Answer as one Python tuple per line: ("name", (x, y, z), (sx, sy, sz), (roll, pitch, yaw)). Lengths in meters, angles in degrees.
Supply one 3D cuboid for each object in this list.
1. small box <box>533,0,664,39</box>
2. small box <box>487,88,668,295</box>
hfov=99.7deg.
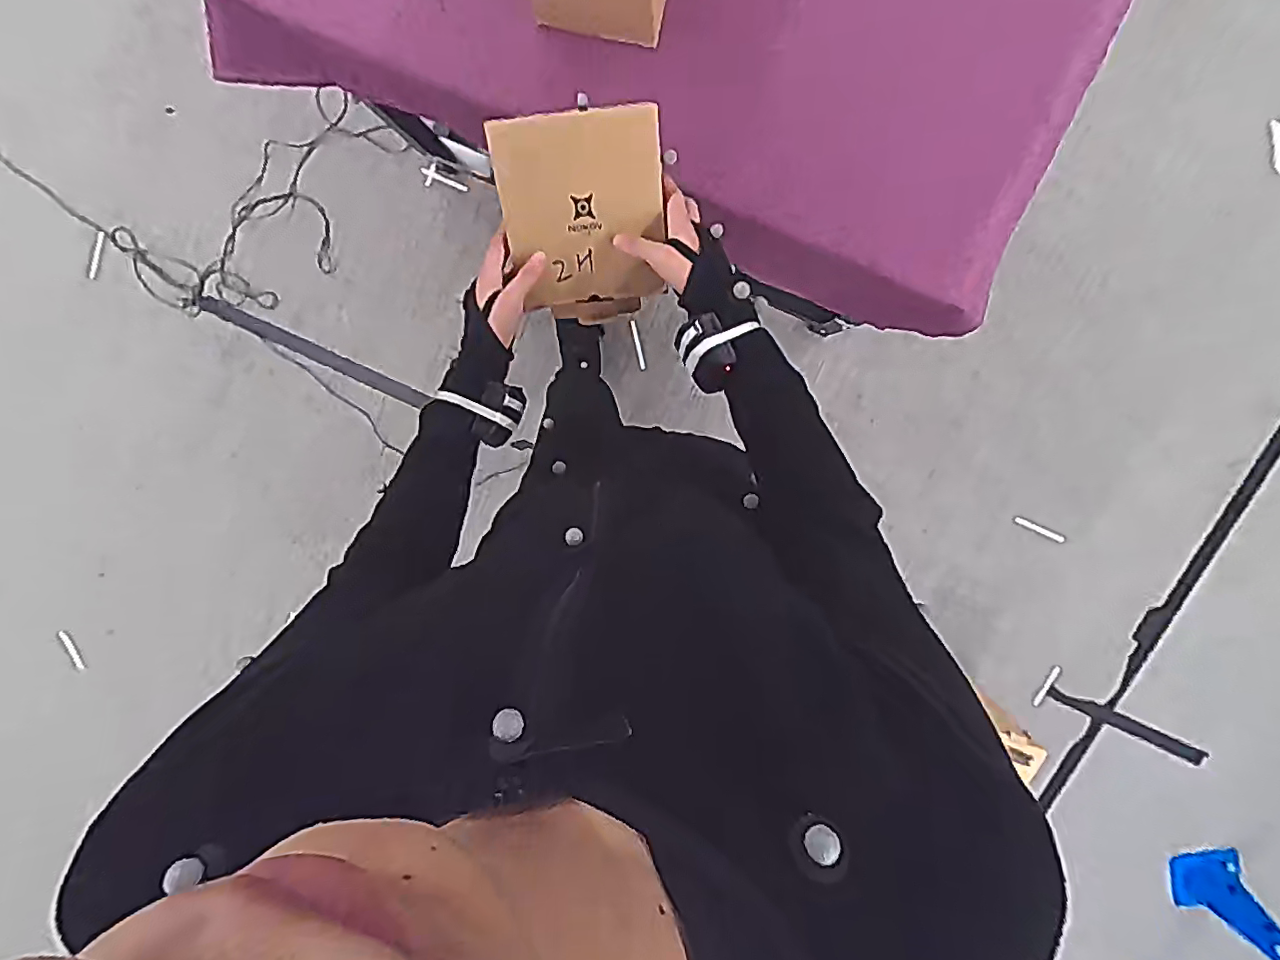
("small box", (-0.050, -0.686, 0.657), (0.179, 0.176, 0.168), (13, 101, 1))
("small box", (-0.056, -0.324, 0.607), (0.168, 0.176, 0.179), (-3, 126, 3))
